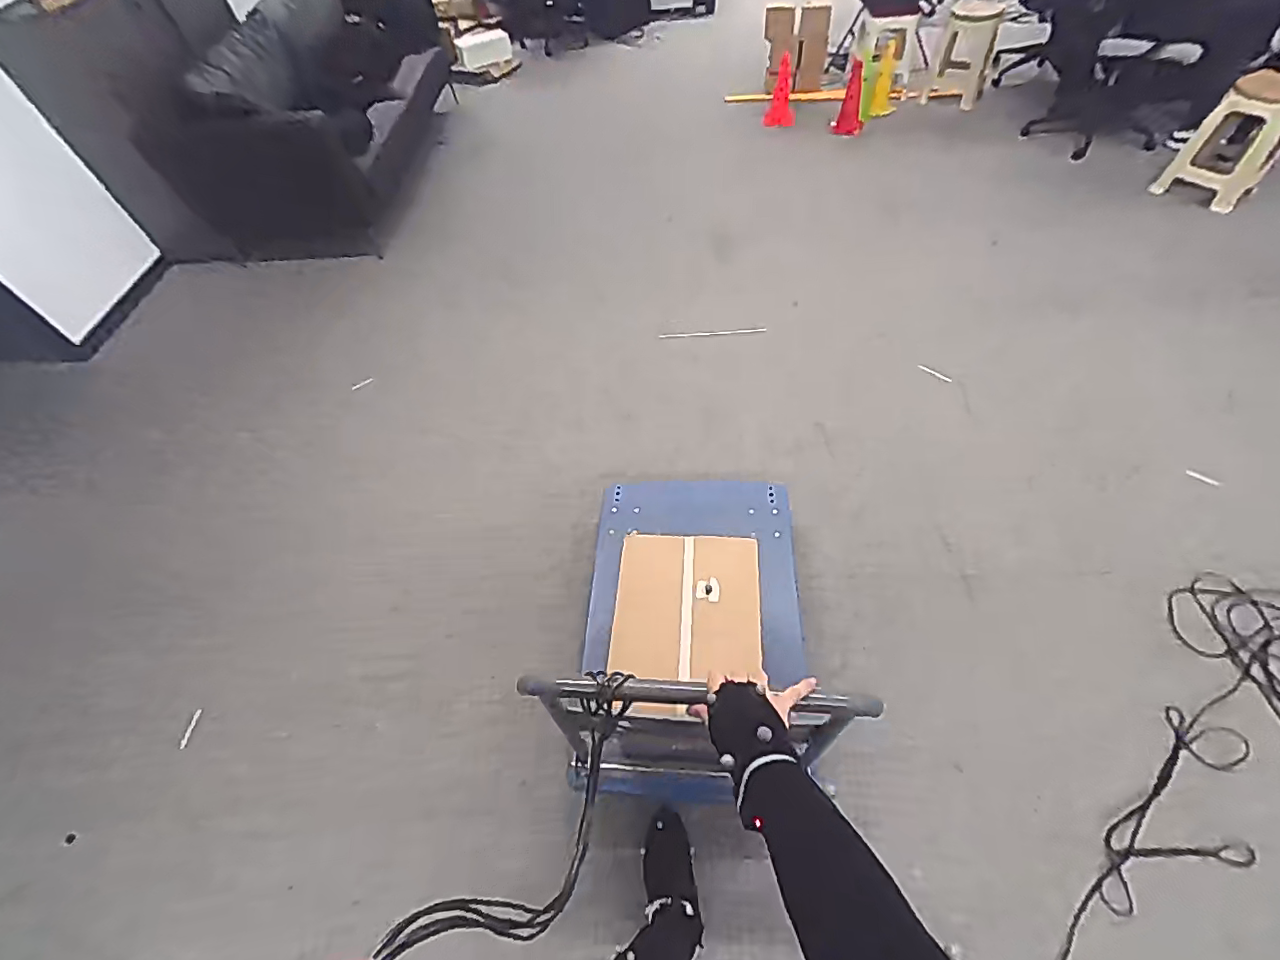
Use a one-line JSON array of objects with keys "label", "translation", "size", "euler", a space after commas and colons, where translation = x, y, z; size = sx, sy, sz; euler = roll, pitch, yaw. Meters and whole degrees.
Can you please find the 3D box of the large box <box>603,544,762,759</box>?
[{"label": "large box", "translation": [0.106, 0.404, 1.275], "size": [0.320, 0.320, 0.408], "euler": [2, 52, 6]}]
